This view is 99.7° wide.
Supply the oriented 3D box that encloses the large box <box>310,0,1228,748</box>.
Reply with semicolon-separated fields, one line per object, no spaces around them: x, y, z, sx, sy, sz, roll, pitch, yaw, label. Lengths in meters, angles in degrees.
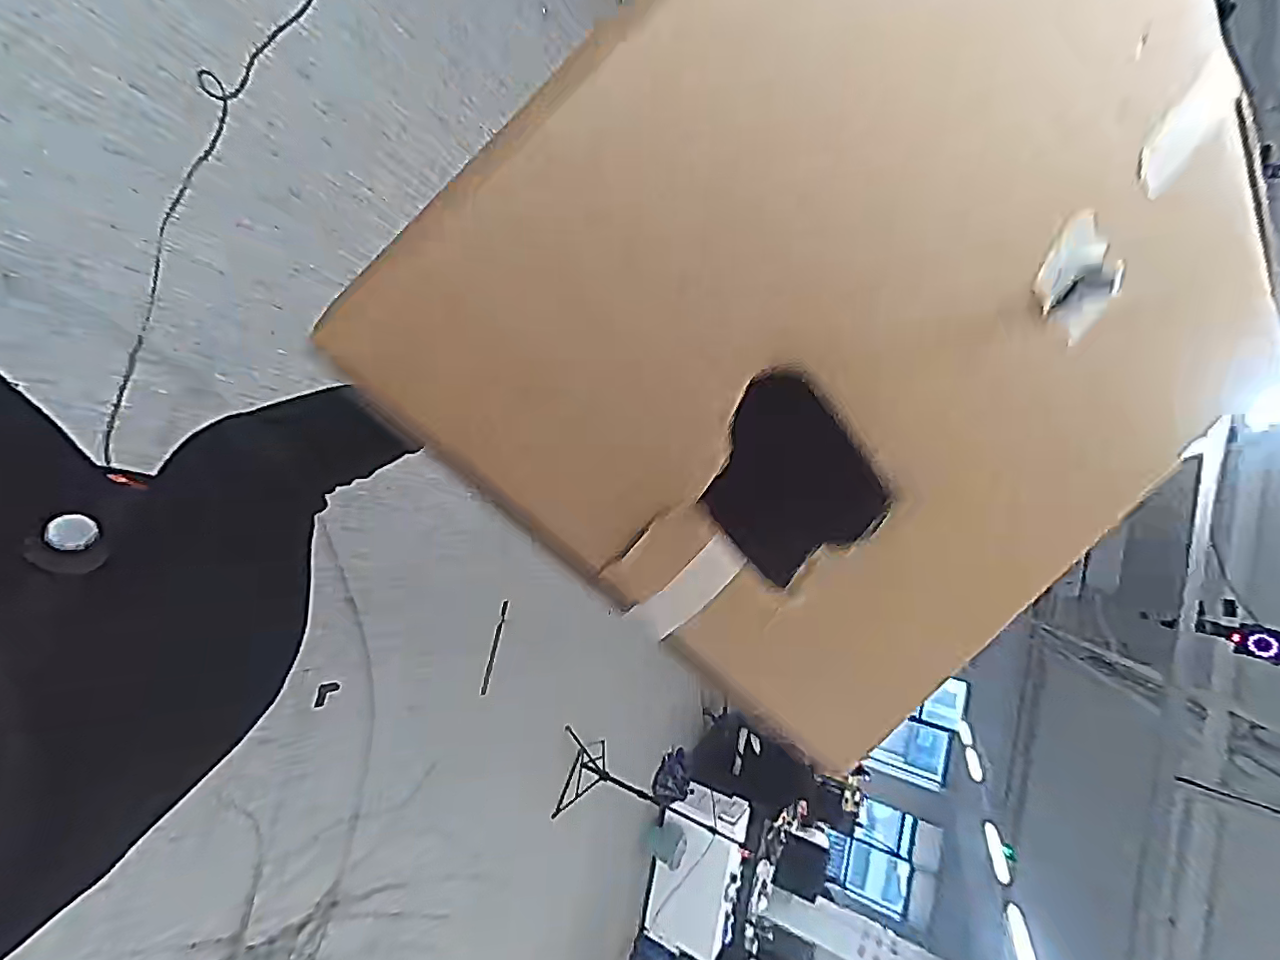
0.053;-0.115;0.400;0.320;0.408;0.320;-42;115;4;large box
